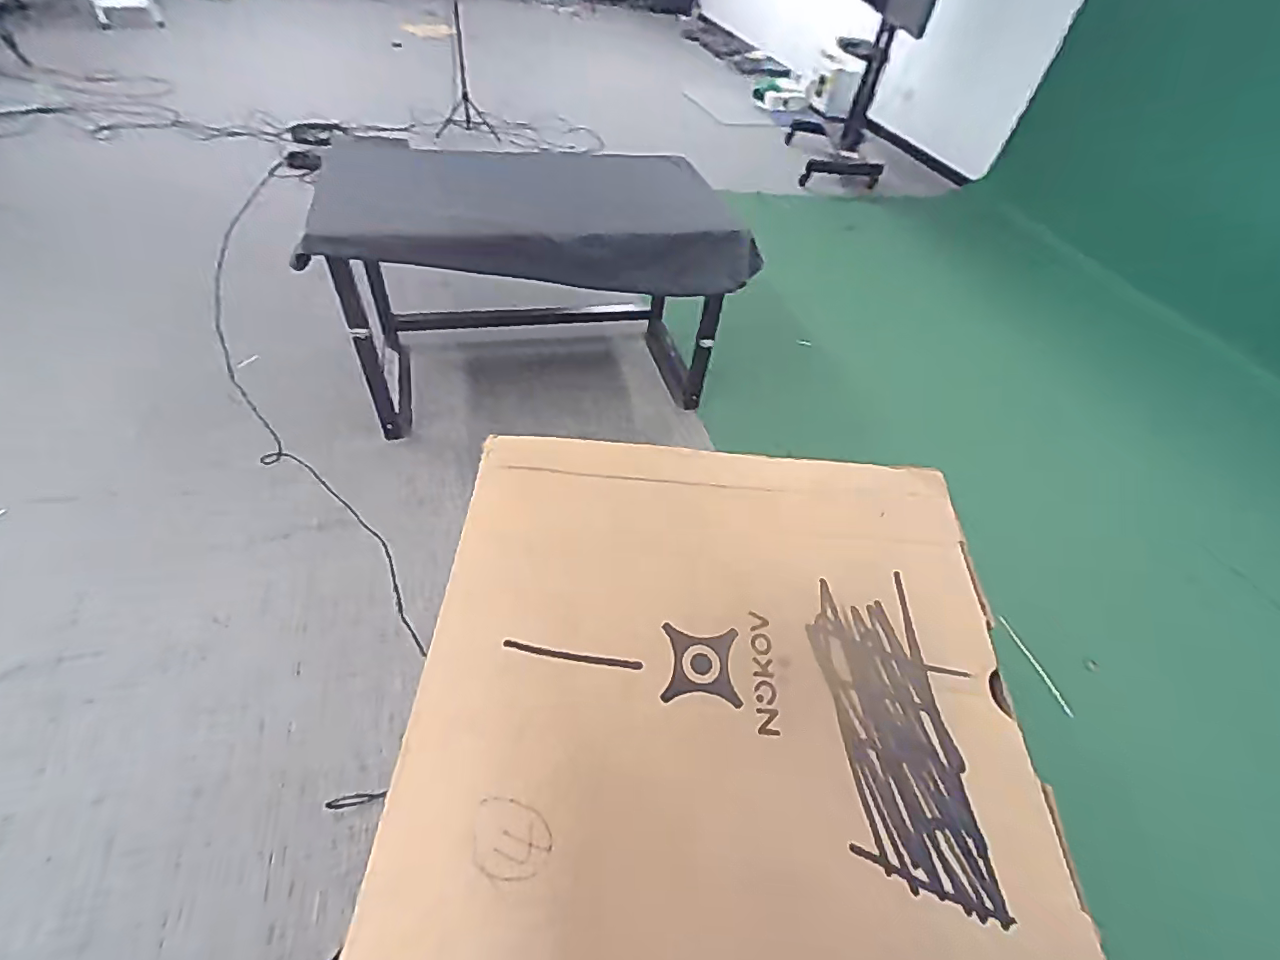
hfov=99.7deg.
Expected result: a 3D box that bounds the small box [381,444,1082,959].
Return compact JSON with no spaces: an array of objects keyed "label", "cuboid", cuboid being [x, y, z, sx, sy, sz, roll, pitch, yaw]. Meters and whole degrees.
[{"label":"small box","cuboid":[0.017,0.105,0.233,0.179,0.176,0.168,4,54,-6]}]
